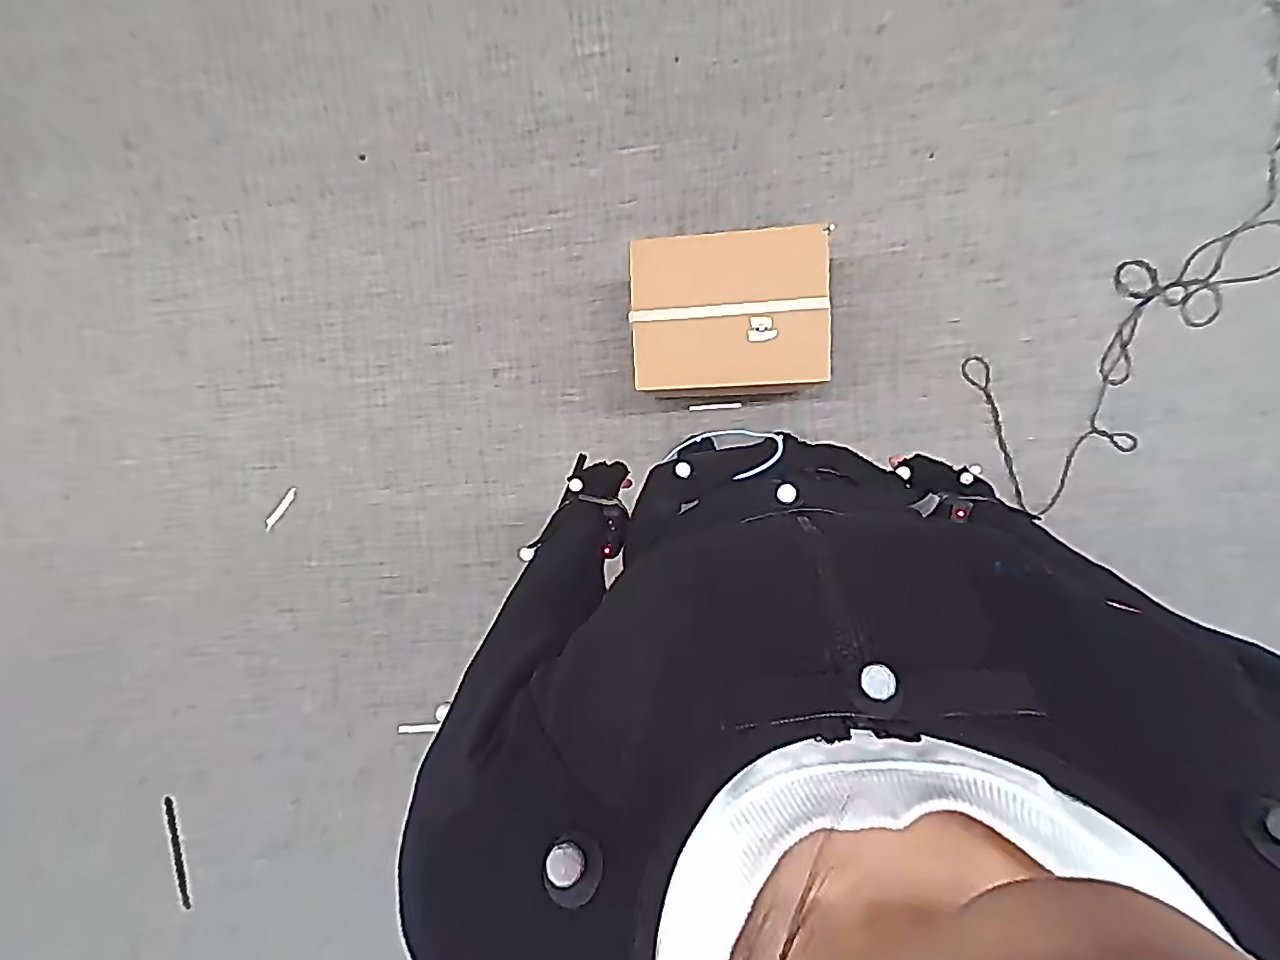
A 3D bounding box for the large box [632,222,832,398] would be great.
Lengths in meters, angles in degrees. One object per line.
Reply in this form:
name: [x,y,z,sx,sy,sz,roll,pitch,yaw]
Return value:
large box: [0.204,-0.368,1.265,0.408,0.320,0.320,-2,95,7]
